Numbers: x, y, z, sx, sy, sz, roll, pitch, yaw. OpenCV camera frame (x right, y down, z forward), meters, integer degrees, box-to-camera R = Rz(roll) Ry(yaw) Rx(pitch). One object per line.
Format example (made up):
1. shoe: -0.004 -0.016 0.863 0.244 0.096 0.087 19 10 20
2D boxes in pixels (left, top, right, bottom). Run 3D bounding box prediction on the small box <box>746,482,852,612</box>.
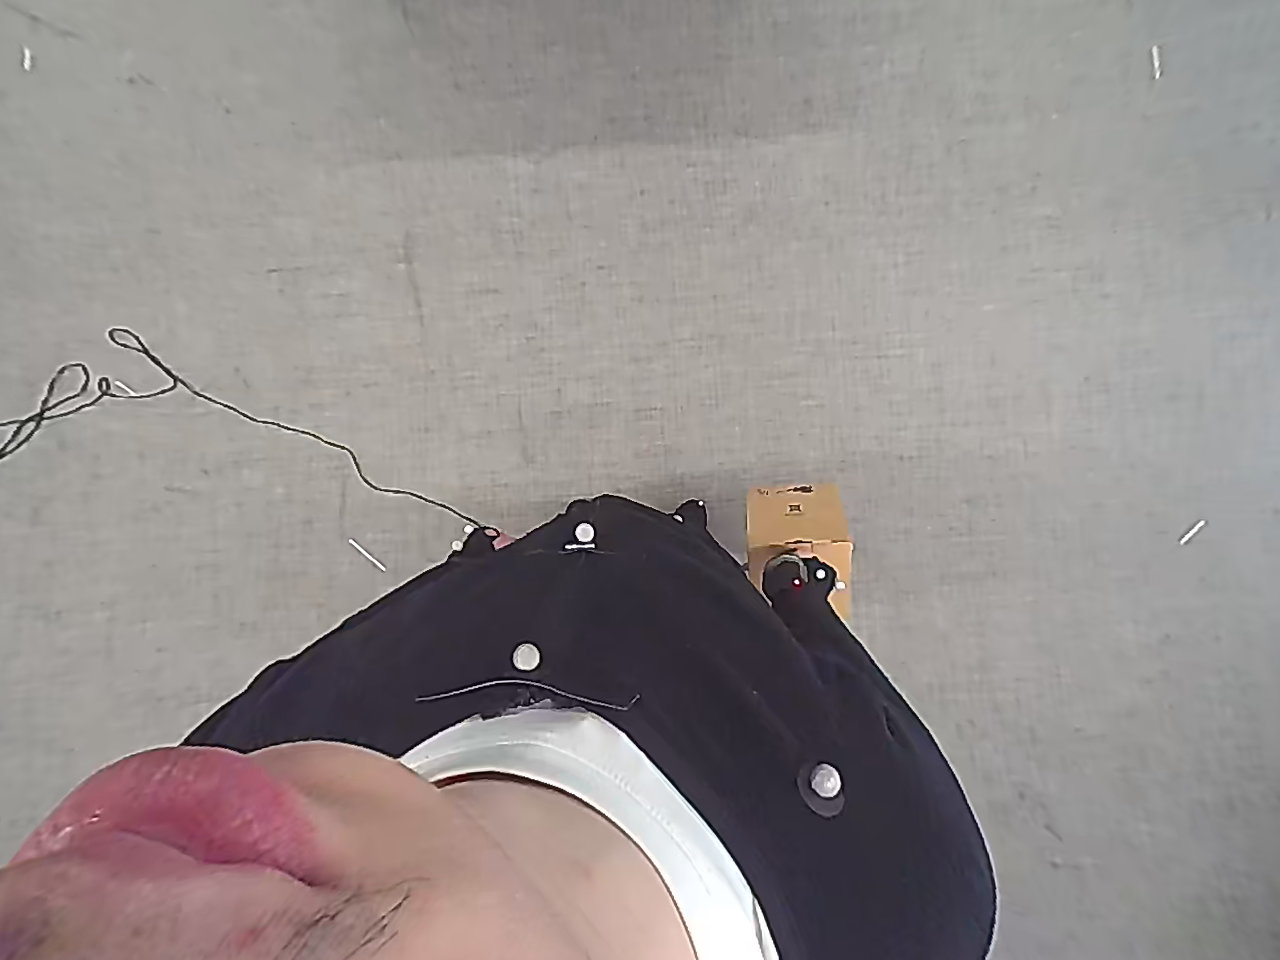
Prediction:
1. small box: 0.287 0.126 0.984 0.168 0.179 0.176 -6 122 12
